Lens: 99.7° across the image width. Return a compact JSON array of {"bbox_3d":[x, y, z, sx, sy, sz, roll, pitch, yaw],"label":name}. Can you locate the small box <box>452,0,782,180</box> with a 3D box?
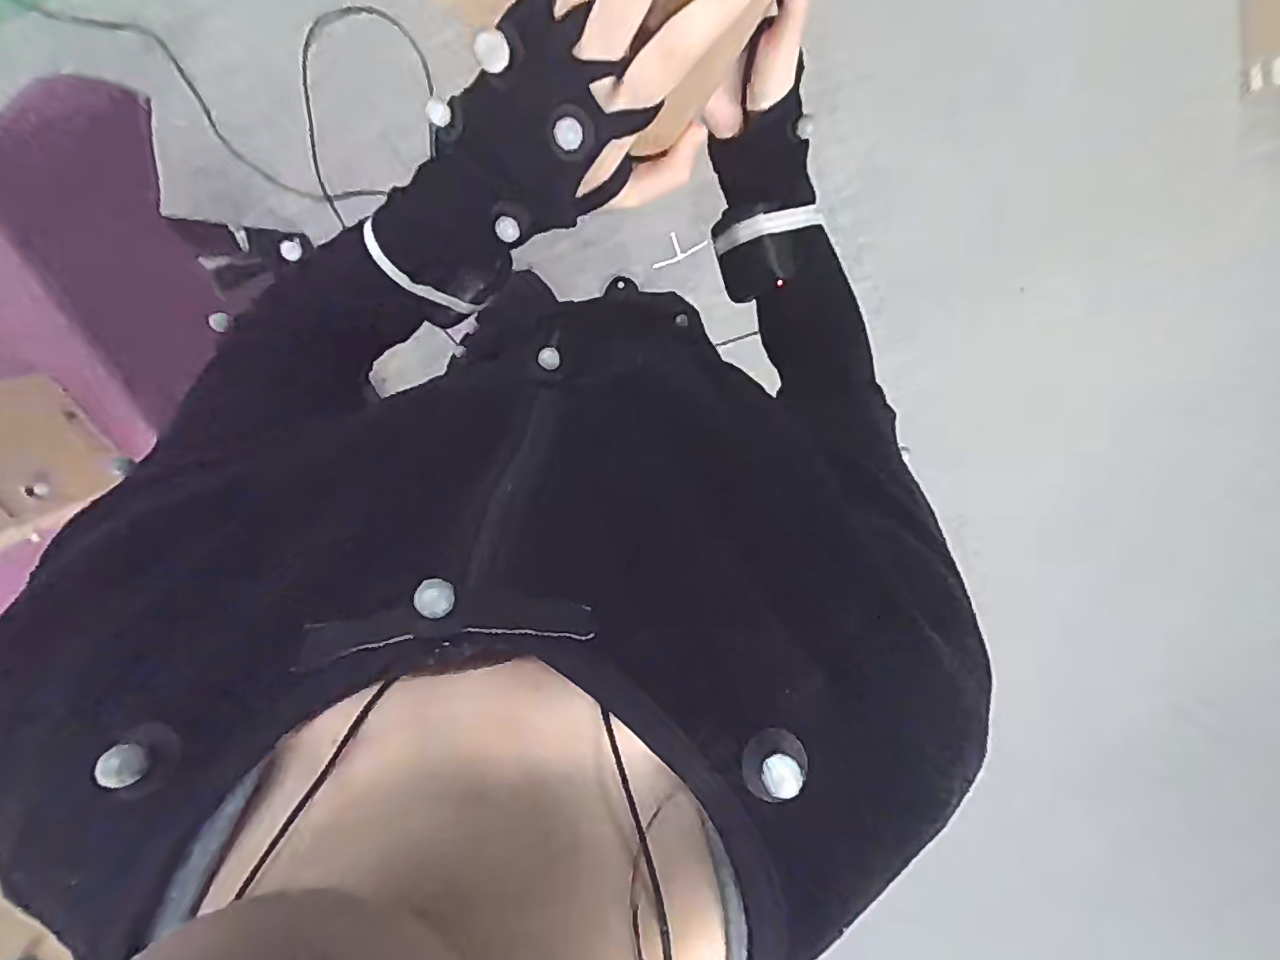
[{"bbox_3d":[0.011,-0.295,0.243,0.176,0.168,0.179,37,61,-16],"label":"small box"}]

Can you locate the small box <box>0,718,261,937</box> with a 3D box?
[{"bbox_3d":[-0.633,0.438,0.674,0.168,0.176,0.179,-23,108,9],"label":"small box"}]
